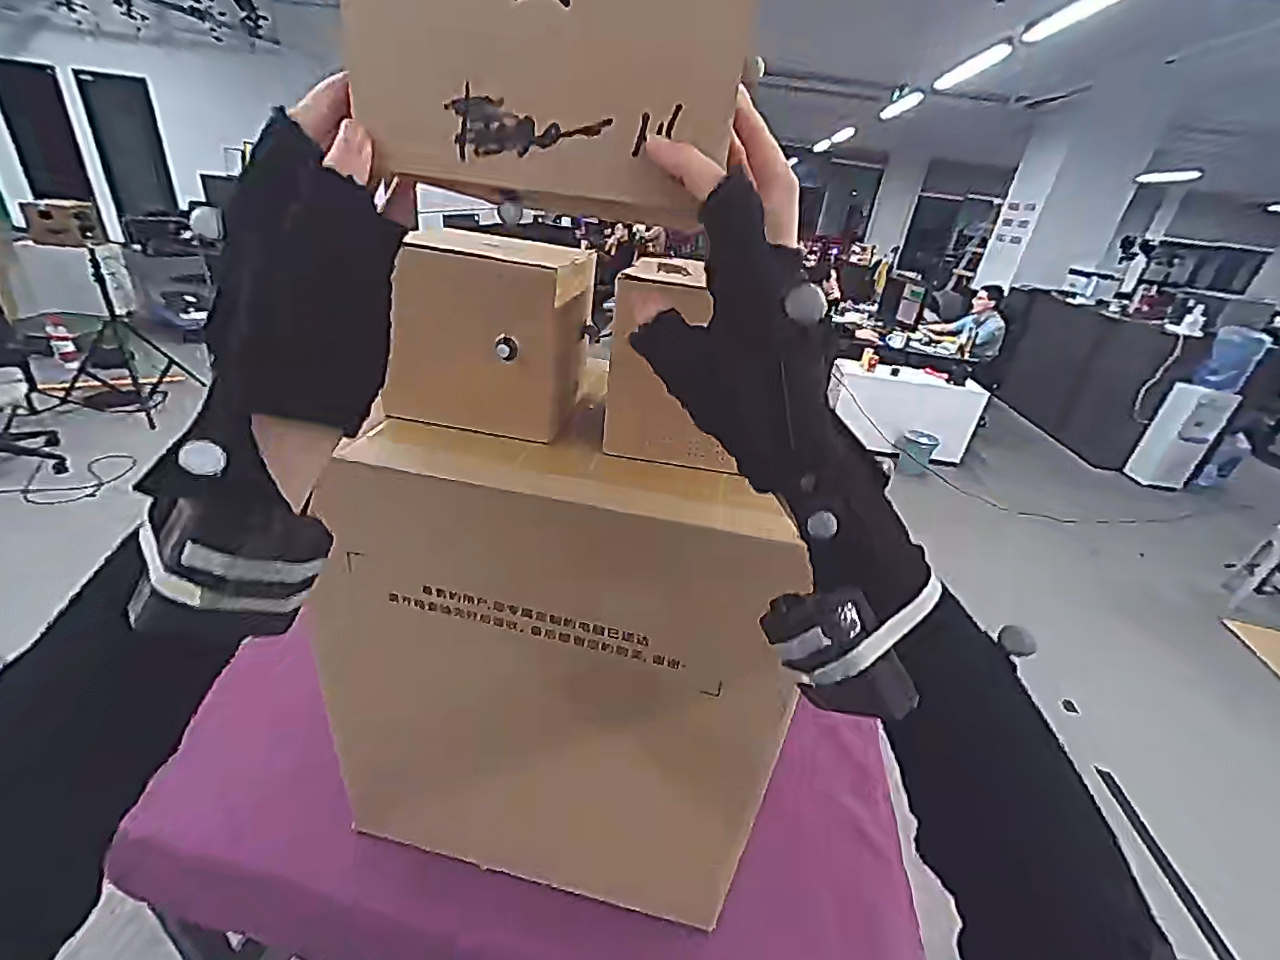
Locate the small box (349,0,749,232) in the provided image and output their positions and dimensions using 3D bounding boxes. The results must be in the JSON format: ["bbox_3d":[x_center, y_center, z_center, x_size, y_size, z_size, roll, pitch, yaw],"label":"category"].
[{"bbox_3d":[-0.031,-0.245,0.290,0.168,0.179,0.176,8,20,1],"label":"small box"}]

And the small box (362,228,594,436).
[{"bbox_3d":[-0.155,-0.158,0.568,0.179,0.176,0.168,9,27,3],"label":"small box"}]

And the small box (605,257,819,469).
[{"bbox_3d":[0.065,-0.124,0.554,0.179,0.176,0.168,9,28,4],"label":"small box"}]
